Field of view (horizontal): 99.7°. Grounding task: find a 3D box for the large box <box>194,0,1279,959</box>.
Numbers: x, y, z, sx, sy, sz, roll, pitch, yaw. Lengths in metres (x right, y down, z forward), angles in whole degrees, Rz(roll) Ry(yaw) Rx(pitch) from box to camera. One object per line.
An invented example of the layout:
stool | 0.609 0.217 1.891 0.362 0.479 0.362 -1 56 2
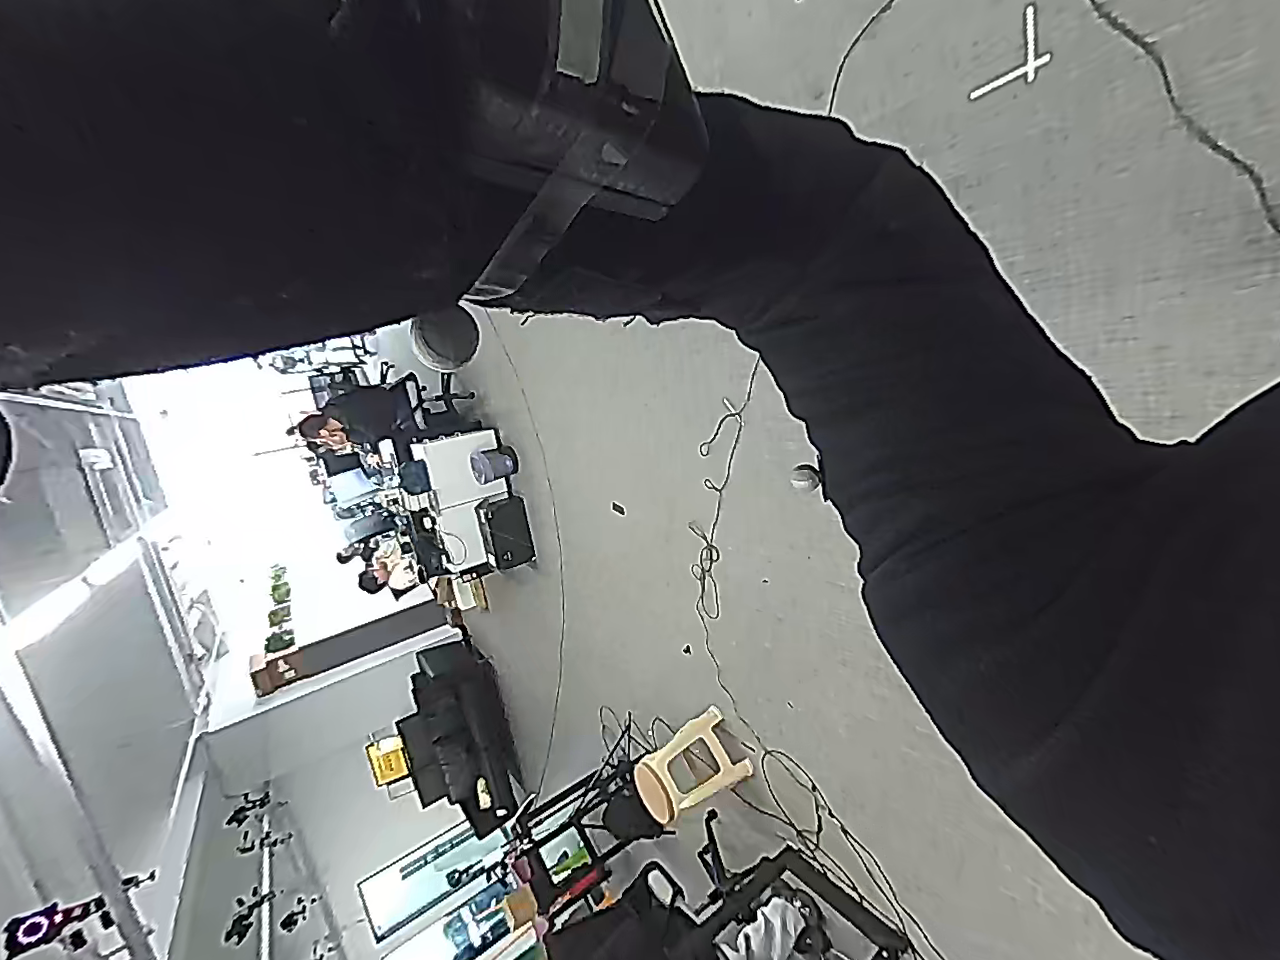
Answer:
large box | 0.129 0.055 0.156 0.408 0.320 0.320 15 -112 54
